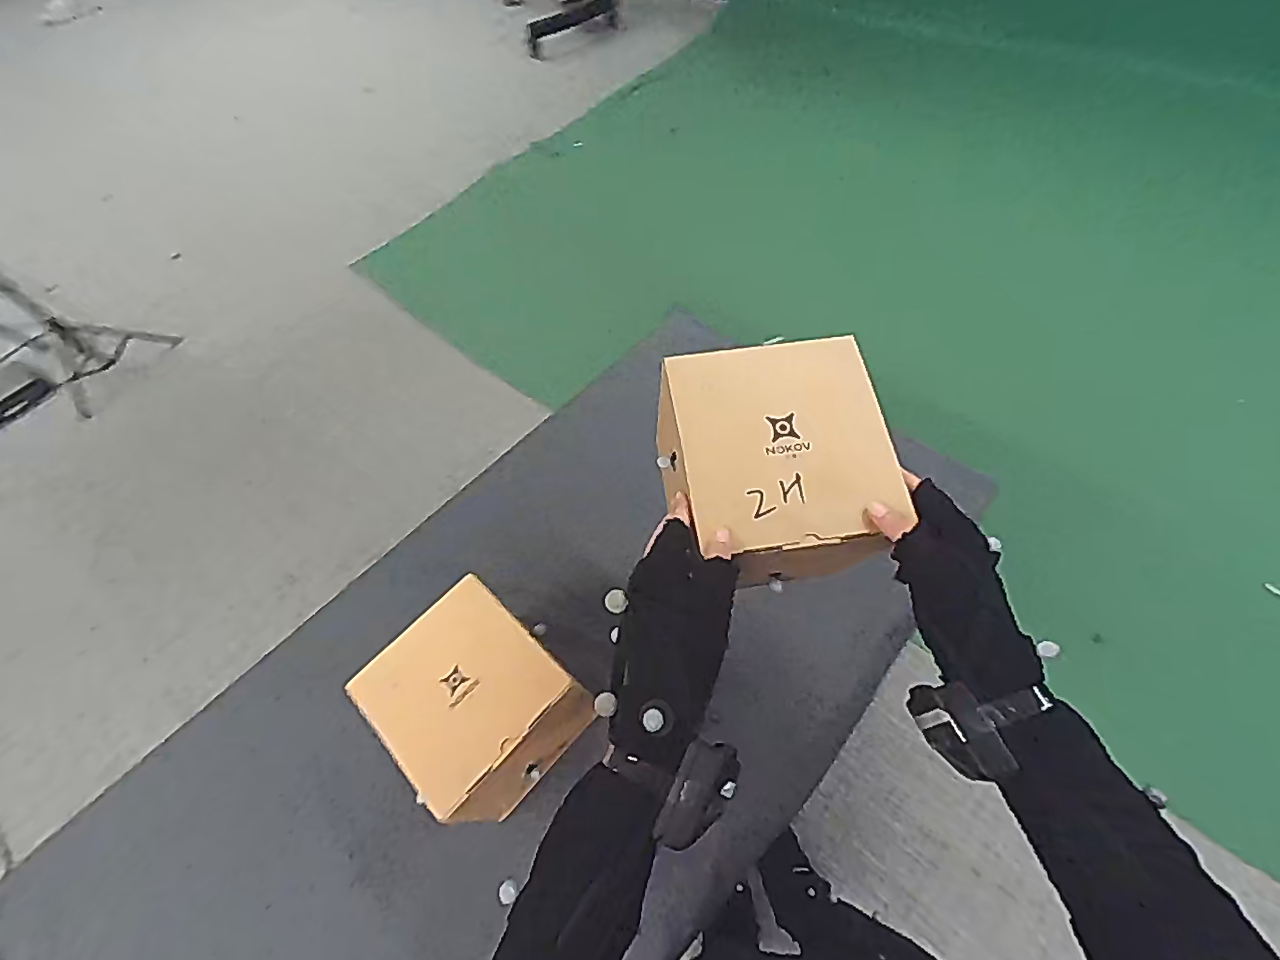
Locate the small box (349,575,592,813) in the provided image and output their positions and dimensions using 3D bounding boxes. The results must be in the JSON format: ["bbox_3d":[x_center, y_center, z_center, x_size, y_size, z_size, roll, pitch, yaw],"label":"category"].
[{"bbox_3d":[-0.178,0.246,0.614,0.179,0.176,0.168,37,69,24],"label":"small box"}]

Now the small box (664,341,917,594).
[{"bbox_3d":[0.114,-0.002,0.498,0.168,0.176,0.179,-6,69,-2],"label":"small box"}]
